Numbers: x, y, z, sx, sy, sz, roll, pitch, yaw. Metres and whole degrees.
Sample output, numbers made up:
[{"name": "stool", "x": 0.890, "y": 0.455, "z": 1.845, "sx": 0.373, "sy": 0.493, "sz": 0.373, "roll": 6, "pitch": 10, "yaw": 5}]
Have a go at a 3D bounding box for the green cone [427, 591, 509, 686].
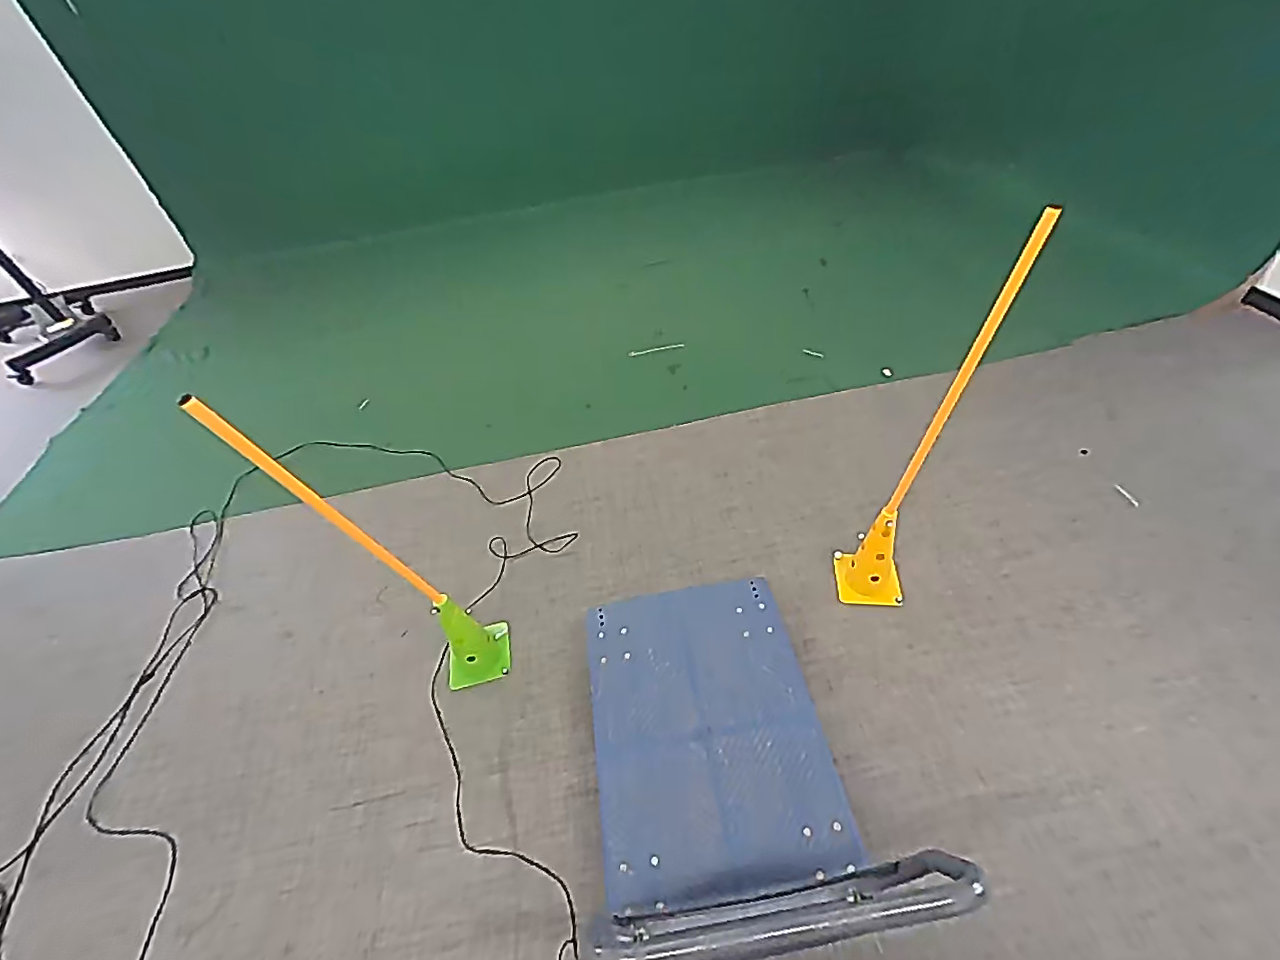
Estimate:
[{"name": "green cone", "x": -0.562, "y": 0.451, "z": 1.673, "sx": 0.202, "sy": 0.368, "sz": 0.200, "roll": -16, "pitch": 46, "yaw": -4}]
